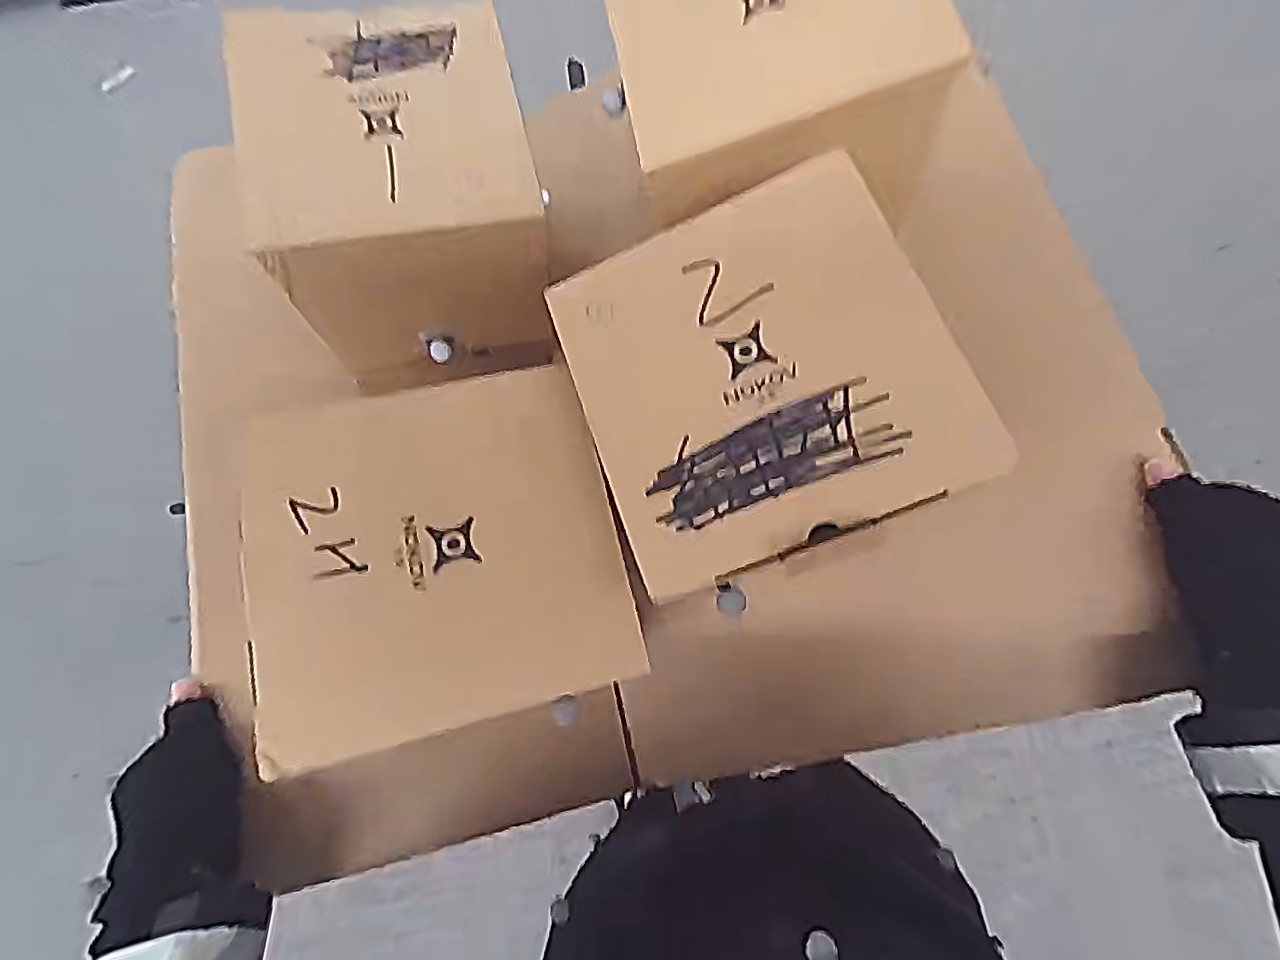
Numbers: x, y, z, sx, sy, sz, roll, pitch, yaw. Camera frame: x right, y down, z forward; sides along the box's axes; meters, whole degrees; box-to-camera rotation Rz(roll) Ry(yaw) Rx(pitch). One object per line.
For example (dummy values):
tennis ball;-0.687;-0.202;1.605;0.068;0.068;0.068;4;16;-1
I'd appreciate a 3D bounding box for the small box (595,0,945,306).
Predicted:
small box;0.081;-0.245;0.377;0.168;0.176;0.179;-14;75;12
